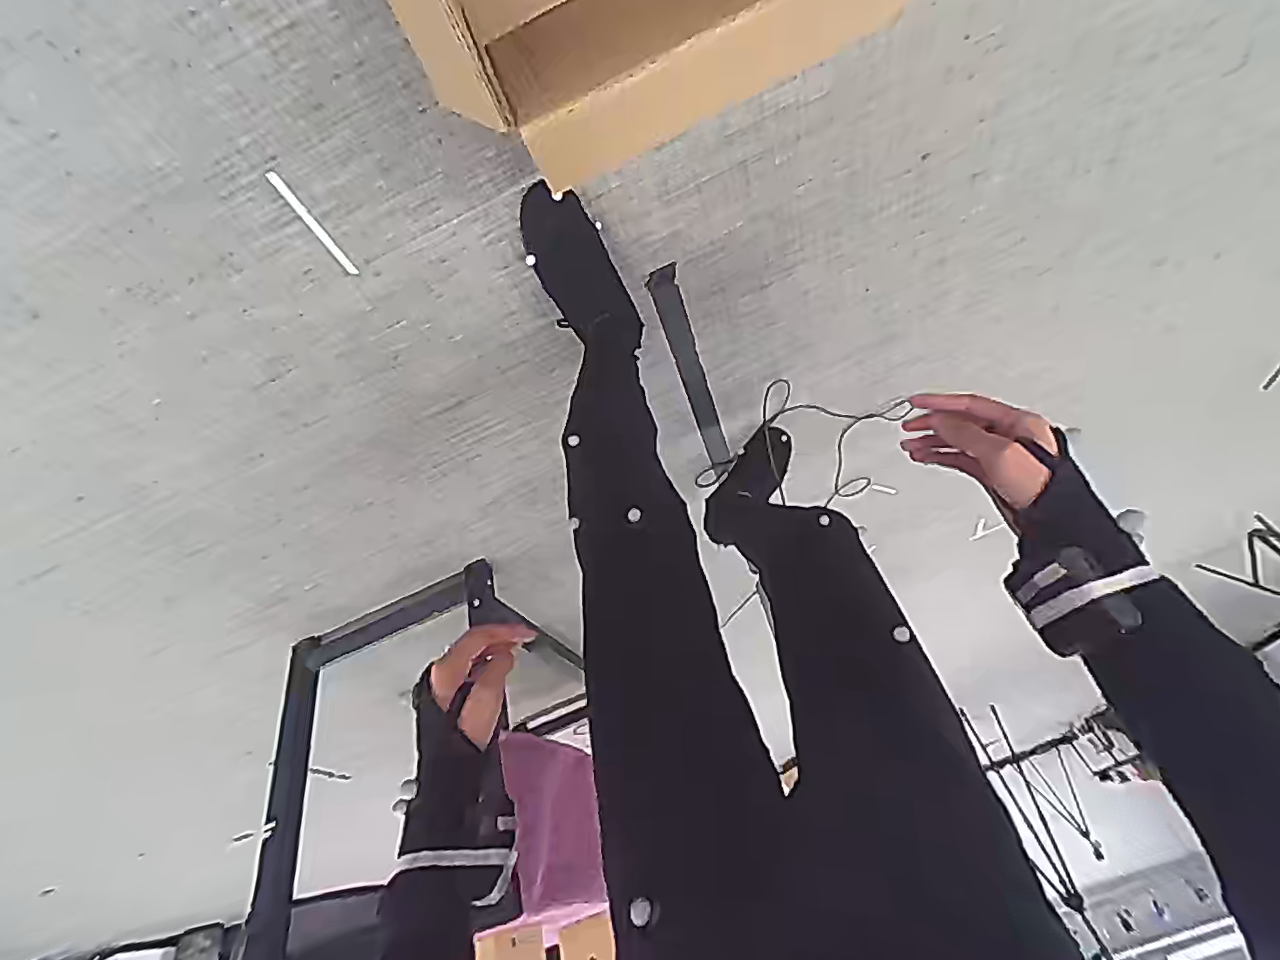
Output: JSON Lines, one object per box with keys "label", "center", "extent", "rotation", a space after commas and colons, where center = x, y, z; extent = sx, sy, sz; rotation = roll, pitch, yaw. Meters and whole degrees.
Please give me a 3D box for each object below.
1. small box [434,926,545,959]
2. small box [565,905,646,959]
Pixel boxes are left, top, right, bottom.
{"label": "small box", "center": [-0.290, 0.998, 1.051], "extent": [0.179, 0.176, 0.168], "rotation": [-29, 140, 11]}
{"label": "small box", "center": [-0.095, 1.310, 1.501], "extent": [0.179, 0.176, 0.168], "rotation": [-28, 141, 8]}
